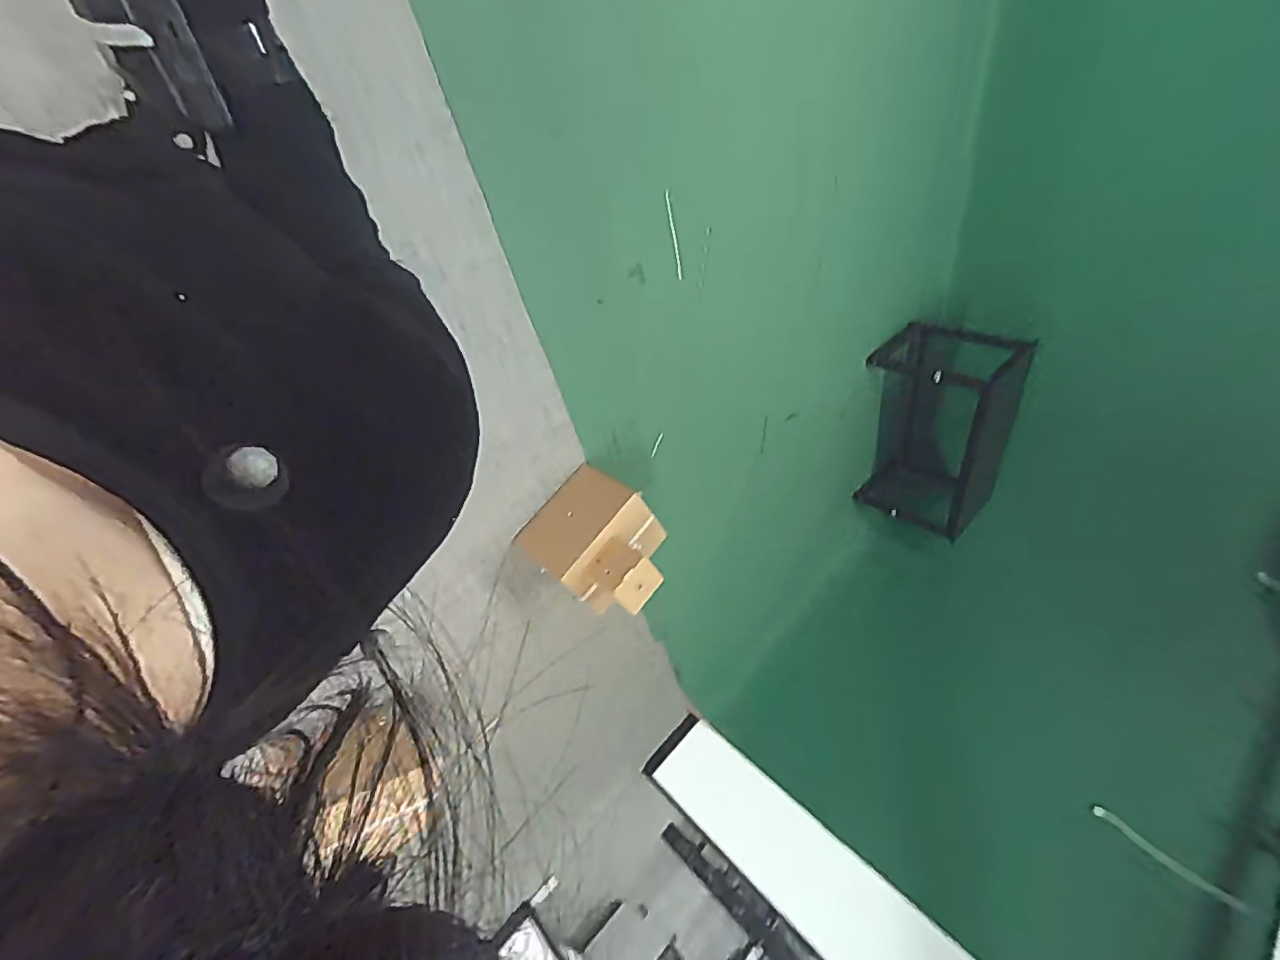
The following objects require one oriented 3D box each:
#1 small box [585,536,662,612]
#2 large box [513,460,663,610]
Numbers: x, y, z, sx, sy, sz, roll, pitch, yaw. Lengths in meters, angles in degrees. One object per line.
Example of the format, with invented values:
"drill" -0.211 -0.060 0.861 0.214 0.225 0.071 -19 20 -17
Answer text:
"small box" -0.059 0.317 1.858 0.168 0.176 0.179 -49 138 -14
"large box" -0.192 0.203 2.036 0.408 0.320 0.320 -50 140 -14
